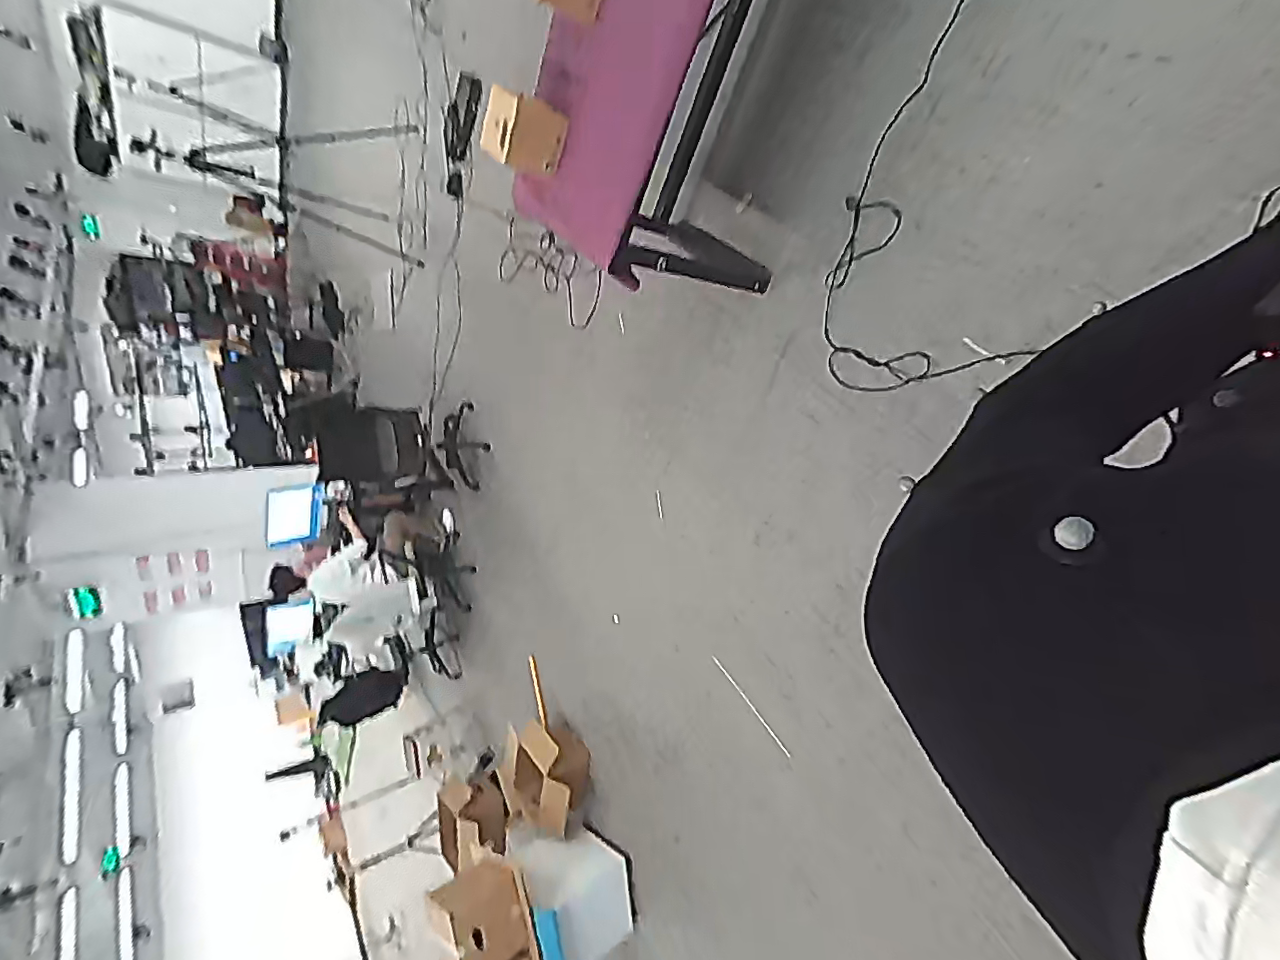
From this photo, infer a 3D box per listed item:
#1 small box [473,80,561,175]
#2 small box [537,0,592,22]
[{"bbox_3d":[-0.352,-1.002,1.551,0.179,0.176,0.168,49,129,30],"label":"small box"},{"bbox_3d":[-0.218,-1.295,1.354,0.179,0.176,0.168,51,131,29],"label":"small box"}]
